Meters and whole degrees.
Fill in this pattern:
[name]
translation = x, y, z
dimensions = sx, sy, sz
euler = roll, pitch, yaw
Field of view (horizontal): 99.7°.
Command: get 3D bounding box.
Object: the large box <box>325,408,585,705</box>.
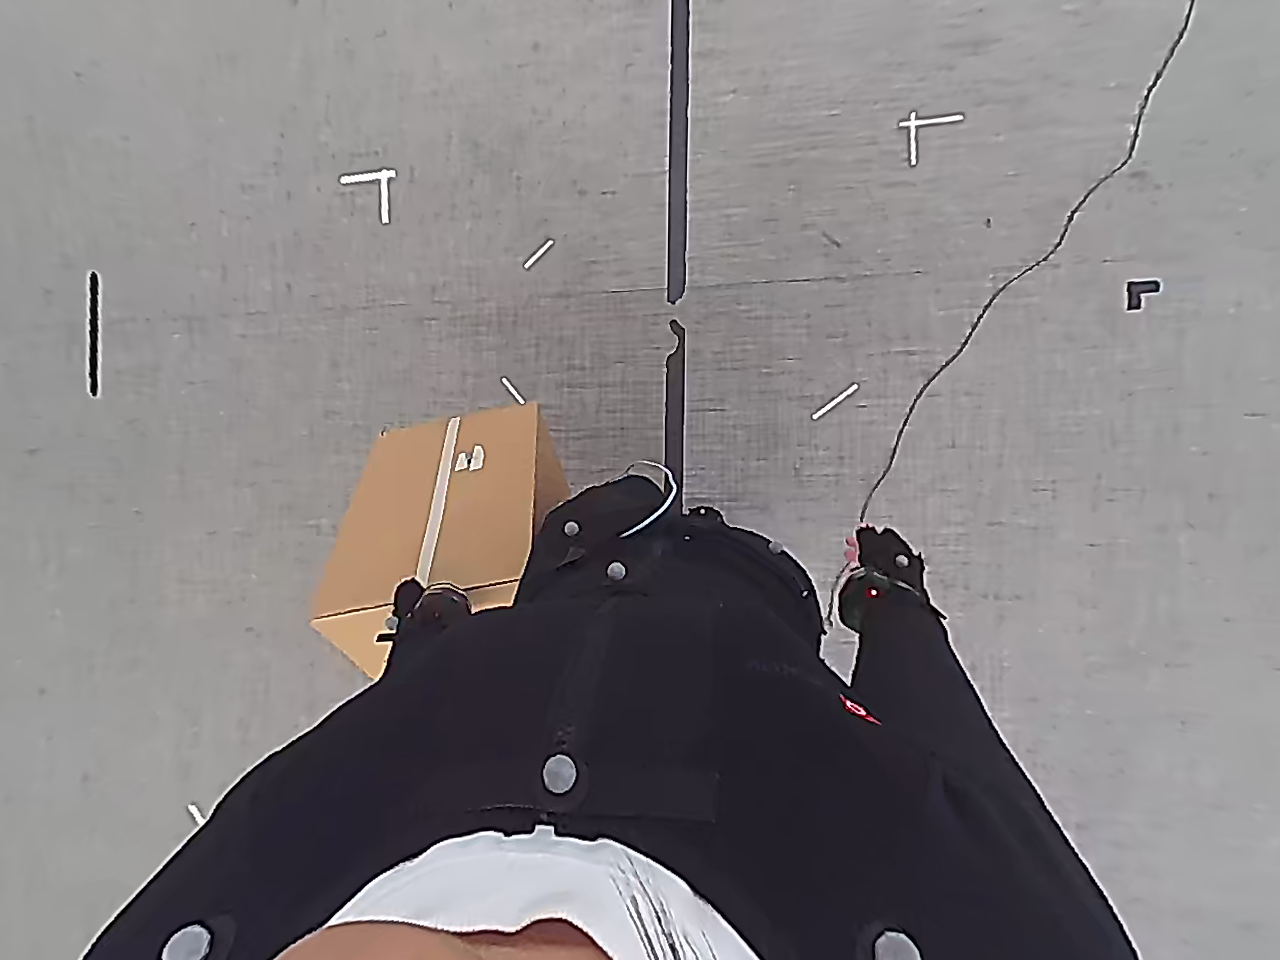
[large box]
translation = -0.293, 0.133, 0.995
dimensions = 0.320, 0.320, 0.408
euler = -11, 43, 2
